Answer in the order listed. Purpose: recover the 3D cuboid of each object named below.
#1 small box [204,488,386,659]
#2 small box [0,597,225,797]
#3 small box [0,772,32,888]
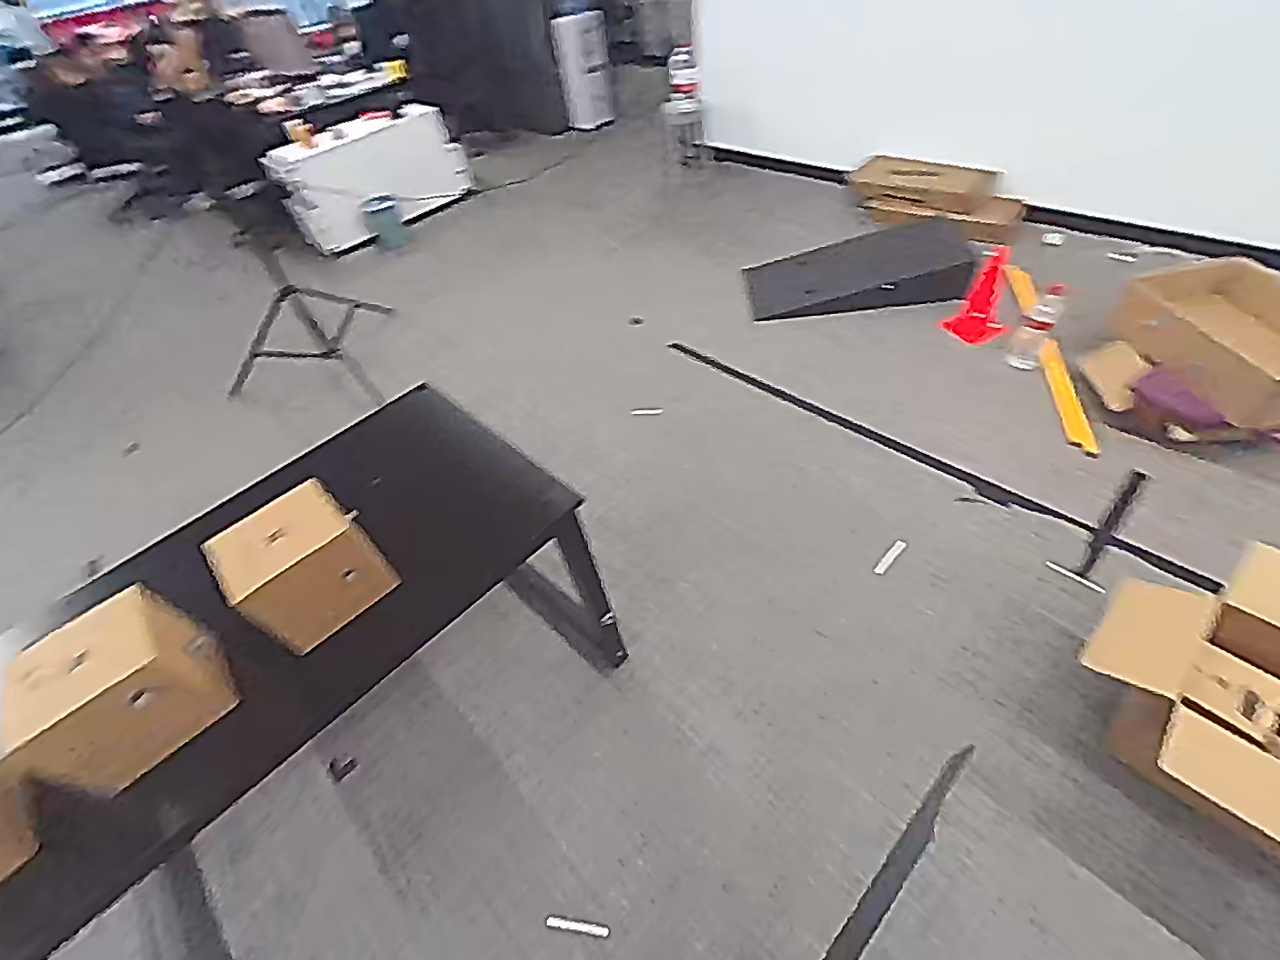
[{"bbox_3d":[-0.550,0.152,0.887,0.168,0.176,0.179,31,60,34],"label":"small box"},{"bbox_3d":[-0.744,0.310,0.777,0.179,0.176,0.168,-39,53,-23],"label":"small box"},{"bbox_3d":[-0.933,0.473,0.665,0.168,0.176,0.179,31,60,31],"label":"small box"}]
